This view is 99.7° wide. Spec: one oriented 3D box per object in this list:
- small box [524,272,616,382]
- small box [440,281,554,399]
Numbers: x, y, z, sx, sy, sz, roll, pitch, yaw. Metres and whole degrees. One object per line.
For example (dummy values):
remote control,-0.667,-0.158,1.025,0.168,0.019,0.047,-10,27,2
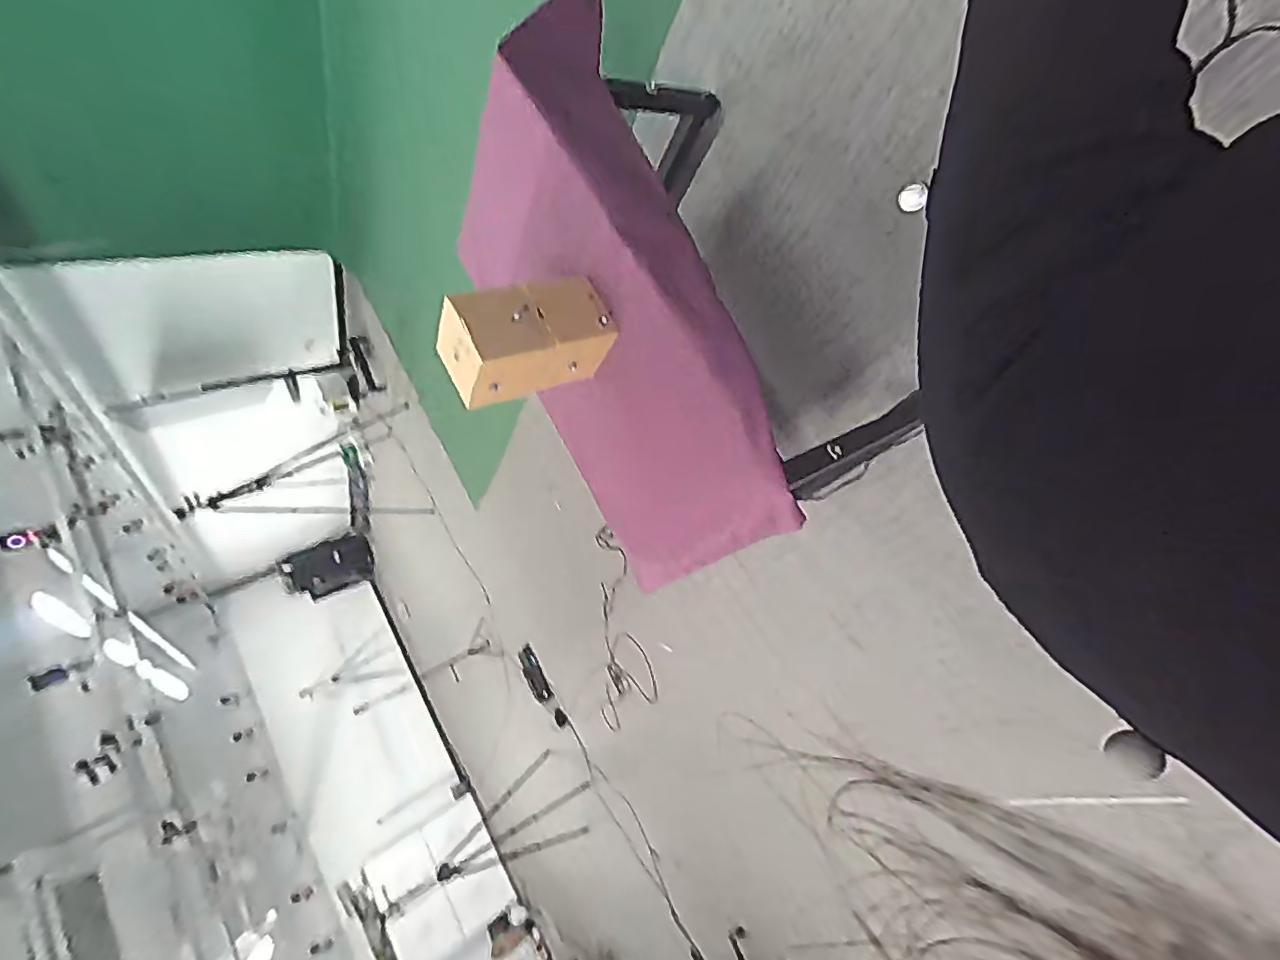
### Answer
small box,-0.177,-0.354,1.243,0.168,0.176,0.179,61,145,11
small box,-0.305,-0.300,1.155,0.168,0.176,0.179,60,144,11
